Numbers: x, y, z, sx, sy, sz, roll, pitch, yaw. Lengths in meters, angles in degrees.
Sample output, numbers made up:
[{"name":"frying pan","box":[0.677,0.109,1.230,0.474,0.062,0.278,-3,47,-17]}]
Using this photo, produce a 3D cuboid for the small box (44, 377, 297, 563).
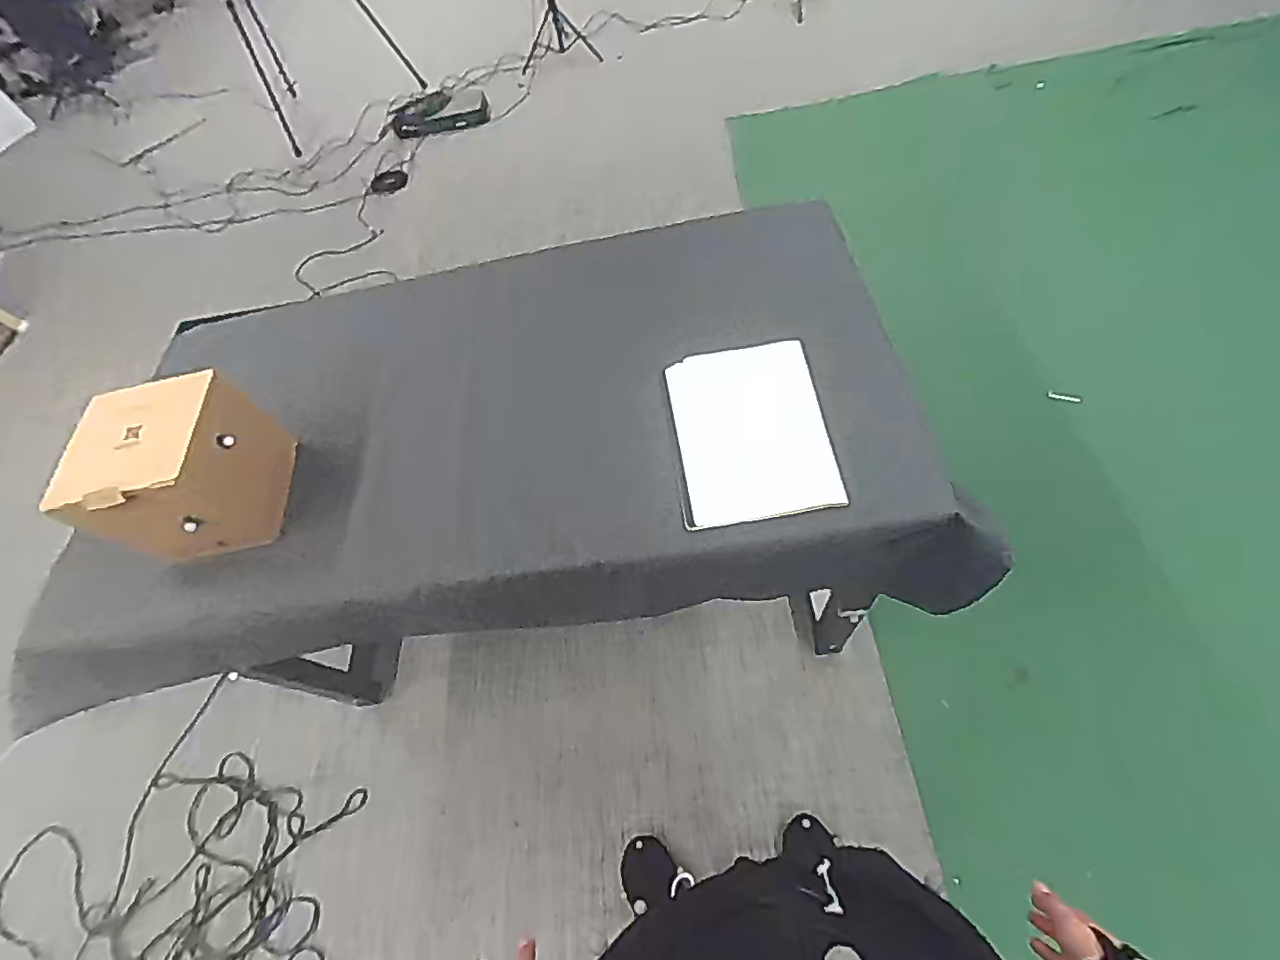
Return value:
[{"name":"small box","box":[-0.596,-0.003,0.719,0.168,0.176,0.179,-12,56,1]}]
